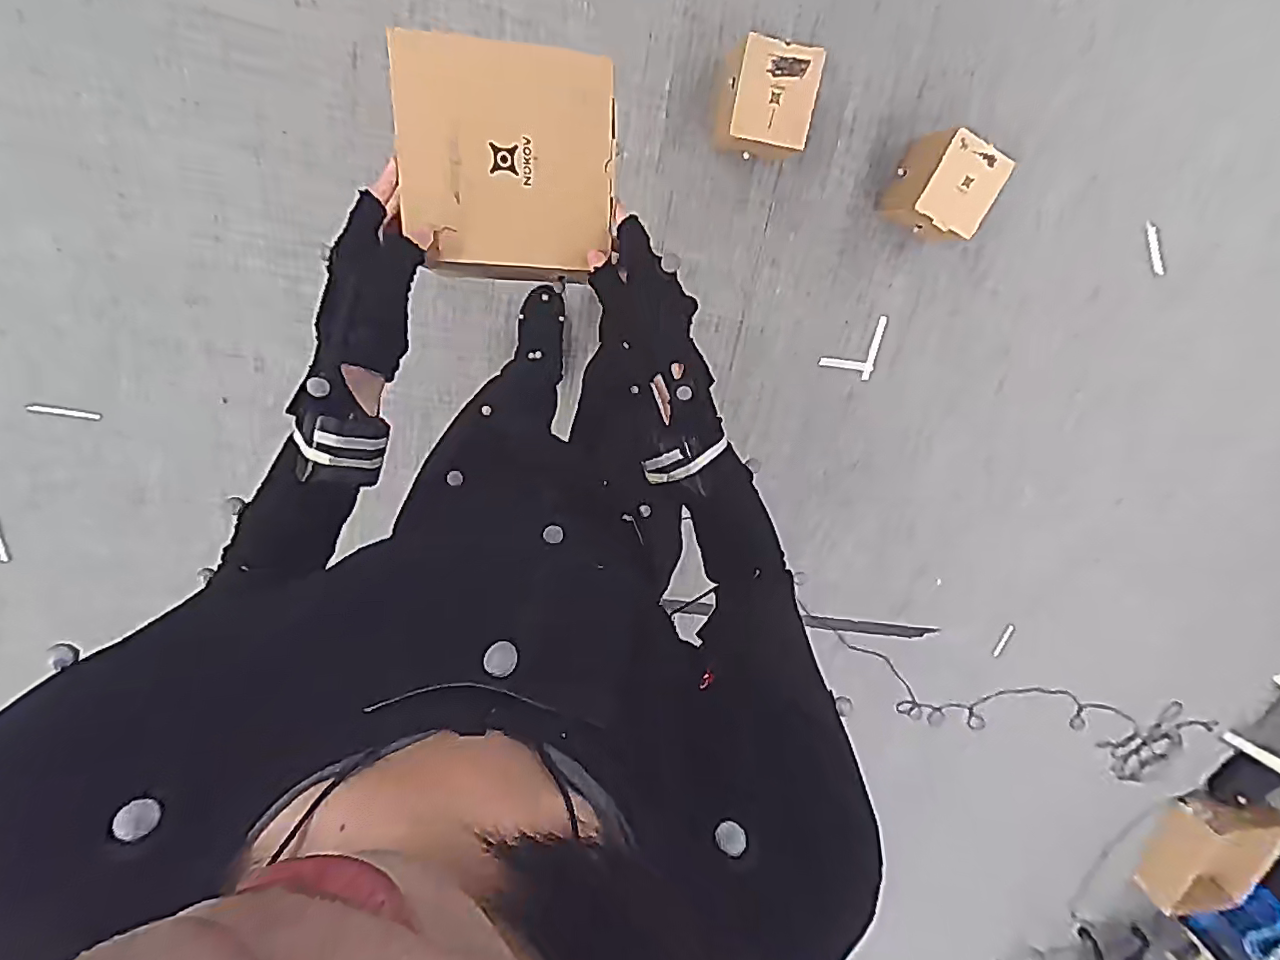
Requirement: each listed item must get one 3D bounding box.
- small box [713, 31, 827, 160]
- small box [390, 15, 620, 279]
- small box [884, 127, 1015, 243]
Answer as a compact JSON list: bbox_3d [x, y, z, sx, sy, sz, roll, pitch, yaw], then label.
[{"bbox_3d":[0.265,-0.802,1.148,0.168,0.176,0.179,6,114,-10],"label":"small box"},{"bbox_3d":[-0.117,-0.288,0.511,0.179,0.176,0.168,-1,104,-9],"label":"small box"},{"bbox_3d":[0.703,-0.676,1.259,0.168,0.176,0.179,21,111,-16],"label":"small box"}]
